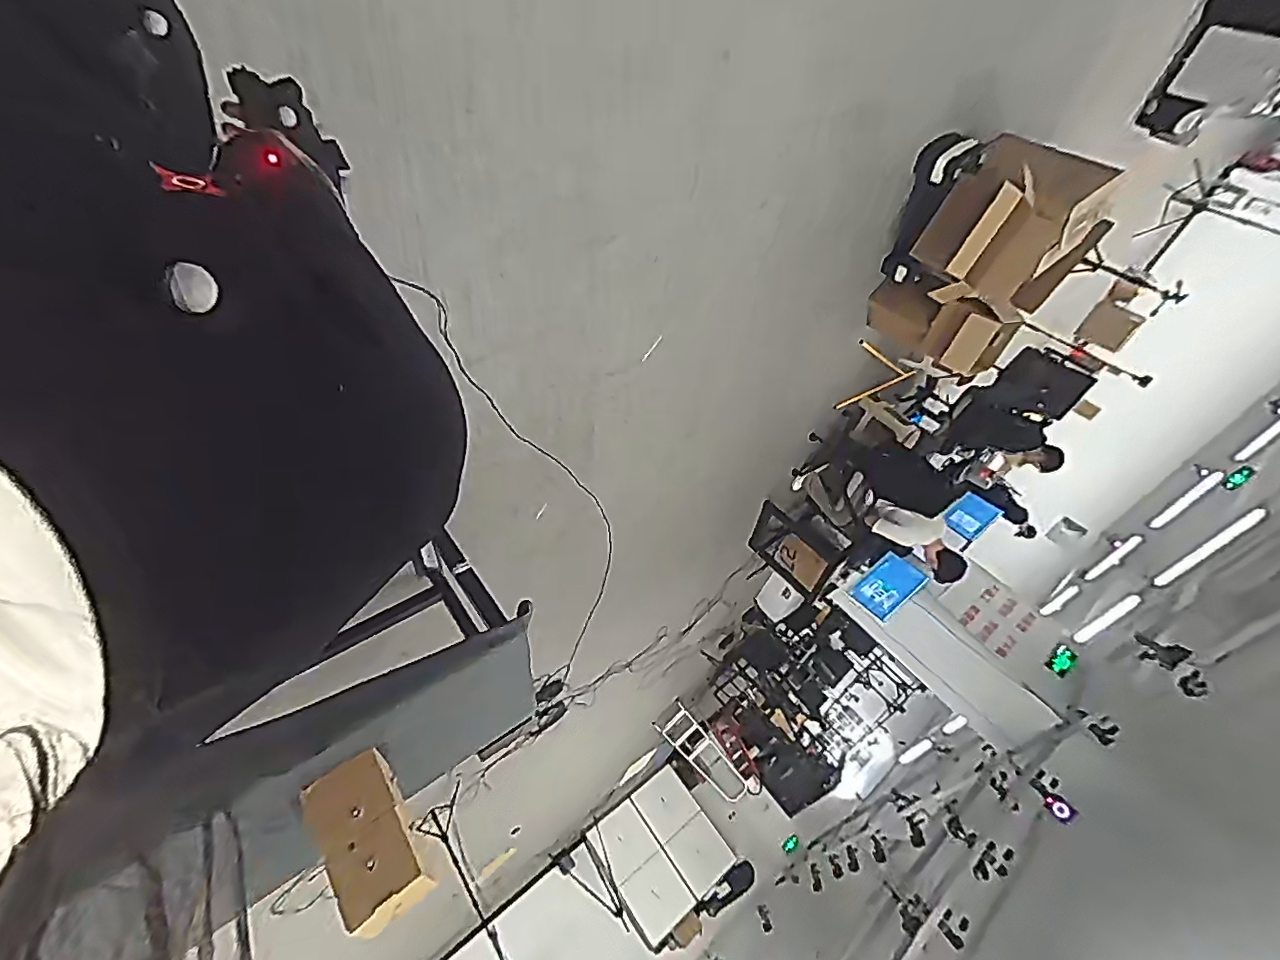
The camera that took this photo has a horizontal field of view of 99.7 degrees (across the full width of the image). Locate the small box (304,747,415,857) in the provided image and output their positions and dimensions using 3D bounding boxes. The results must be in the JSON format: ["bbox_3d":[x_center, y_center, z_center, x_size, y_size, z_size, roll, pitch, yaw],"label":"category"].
[{"bbox_3d":[-0.689,0.799,1.334,0.179,0.176,0.168,-27,145,-28],"label":"small box"}]

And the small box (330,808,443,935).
[{"bbox_3d":[-0.588,0.902,1.258,0.168,0.176,0.179,-29,146,-27],"label":"small box"}]
